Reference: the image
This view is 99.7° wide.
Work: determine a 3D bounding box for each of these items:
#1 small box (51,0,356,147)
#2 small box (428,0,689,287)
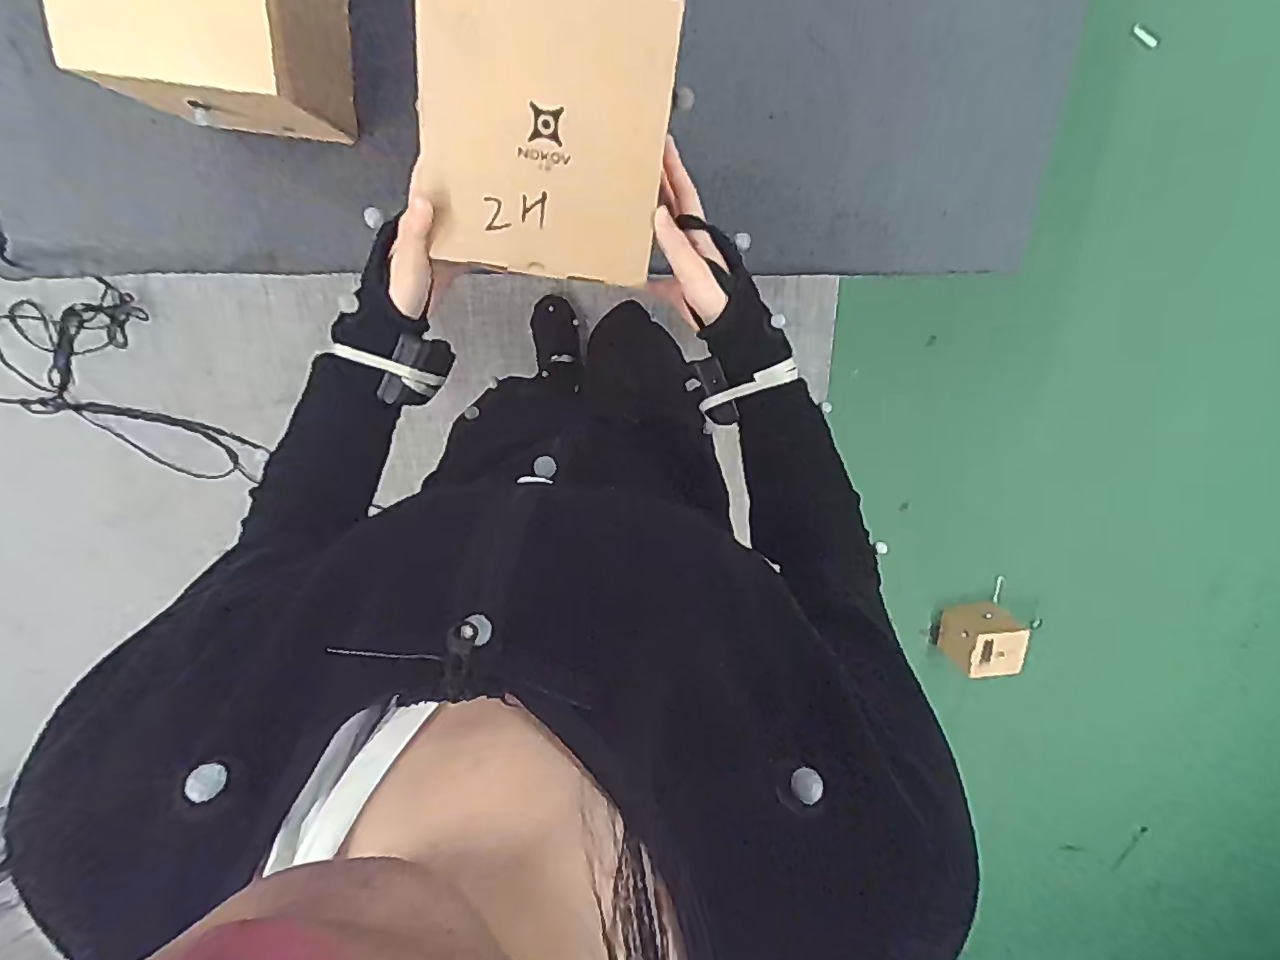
[{"bbox_3d":[-0.377,-0.425,0.491,0.168,0.176,0.179,3,108,-7],"label":"small box"},{"bbox_3d":[-0.064,-0.269,0.442,0.168,0.176,0.179,7,116,-5],"label":"small box"}]
